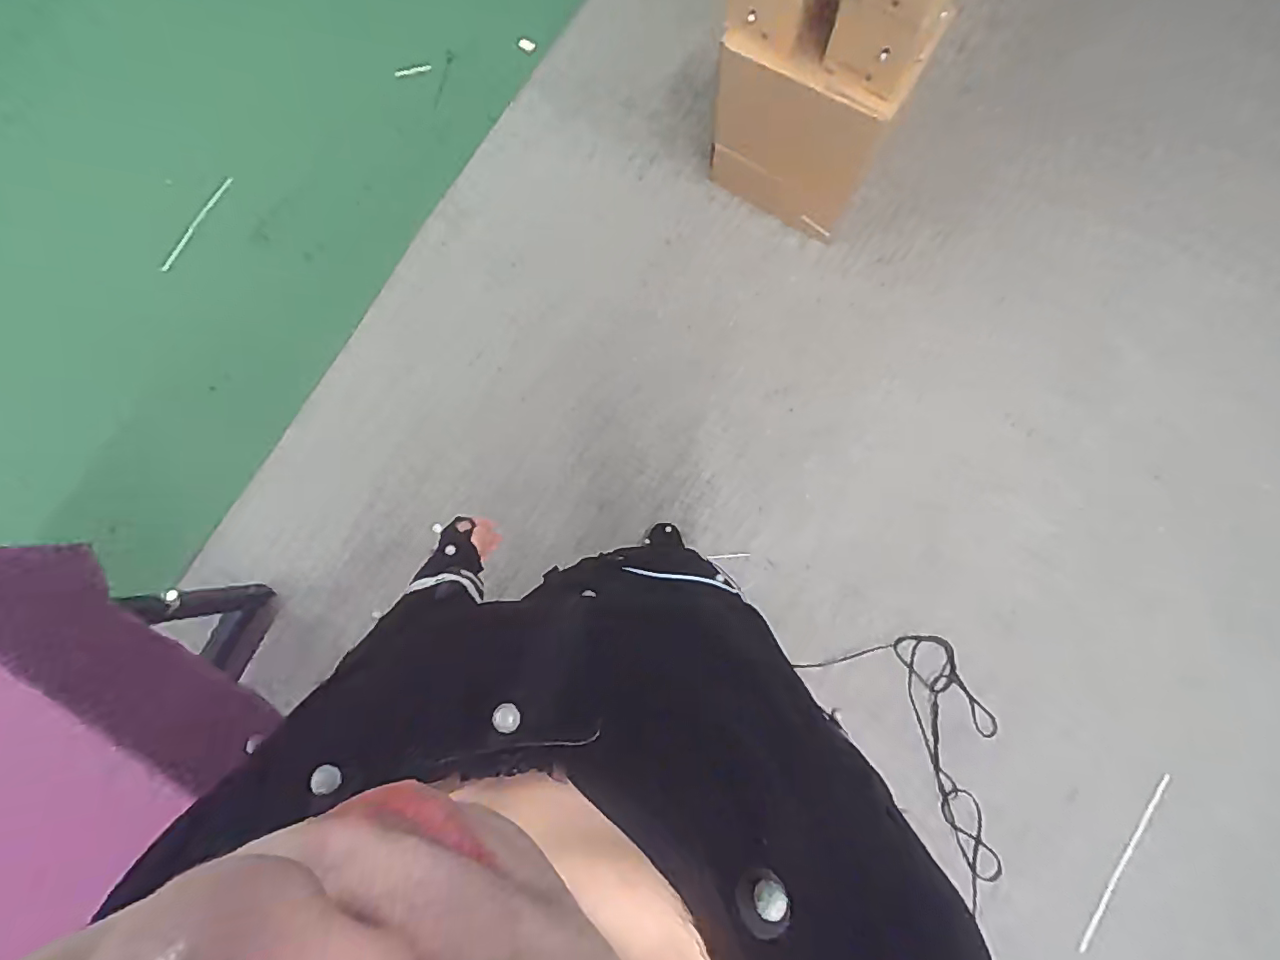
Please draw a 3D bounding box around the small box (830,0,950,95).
[{"bbox_3d":[0.497,-0.918,1.064,0.168,0.176,0.179,35,86,8],"label":"small box"}]

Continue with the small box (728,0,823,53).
[{"bbox_3d":[0.291,-1.032,1.092,0.168,0.176,0.179,32,87,6],"label":"small box"}]
